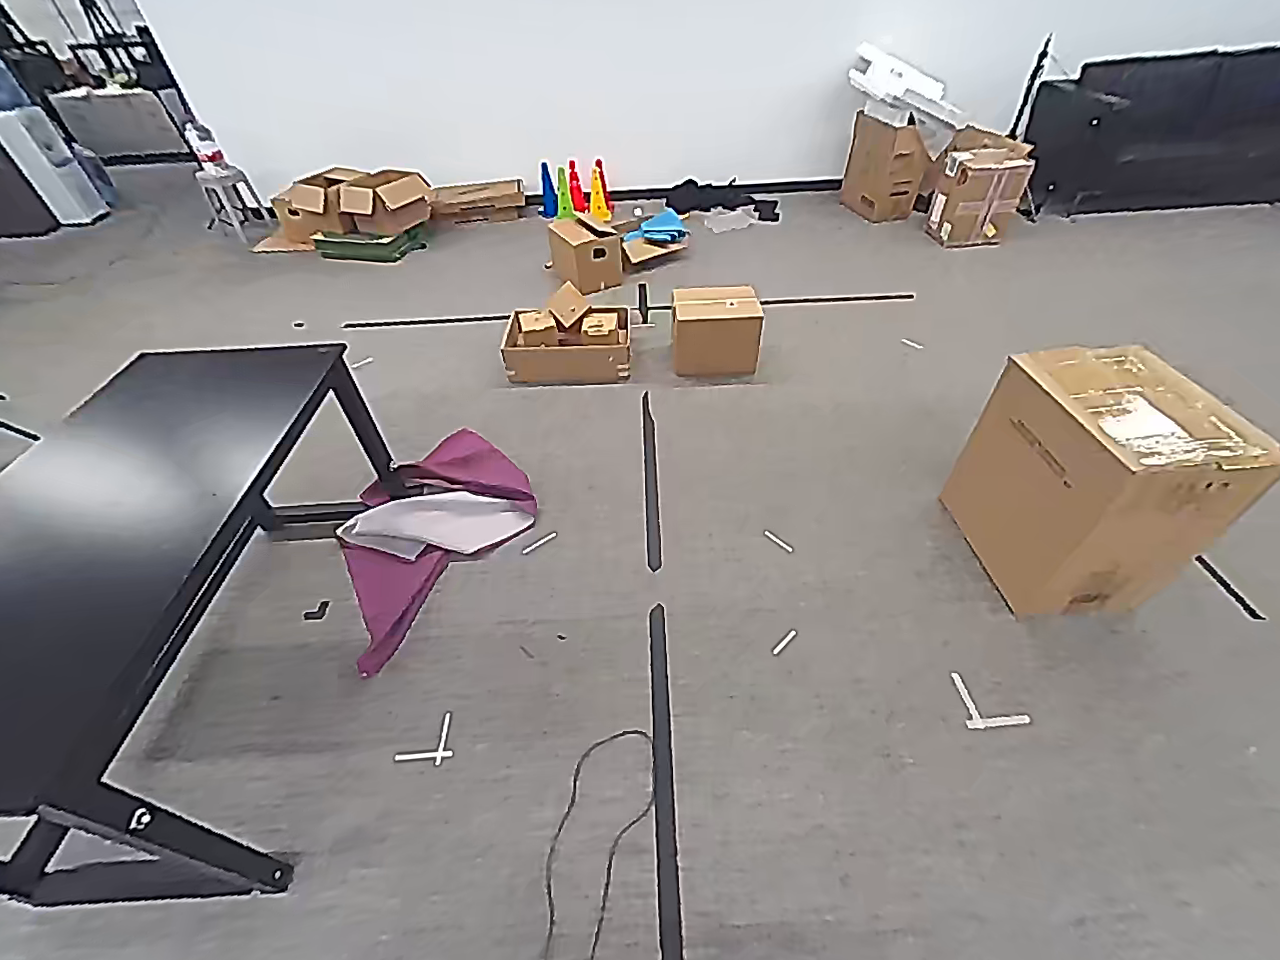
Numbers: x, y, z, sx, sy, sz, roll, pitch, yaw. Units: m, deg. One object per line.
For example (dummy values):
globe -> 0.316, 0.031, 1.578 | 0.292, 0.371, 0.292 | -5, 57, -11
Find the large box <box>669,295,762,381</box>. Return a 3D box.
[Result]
large box -> 0.361, -0.710, 2.703 | 0.408, 0.320, 0.320 | -2, 45, -1
